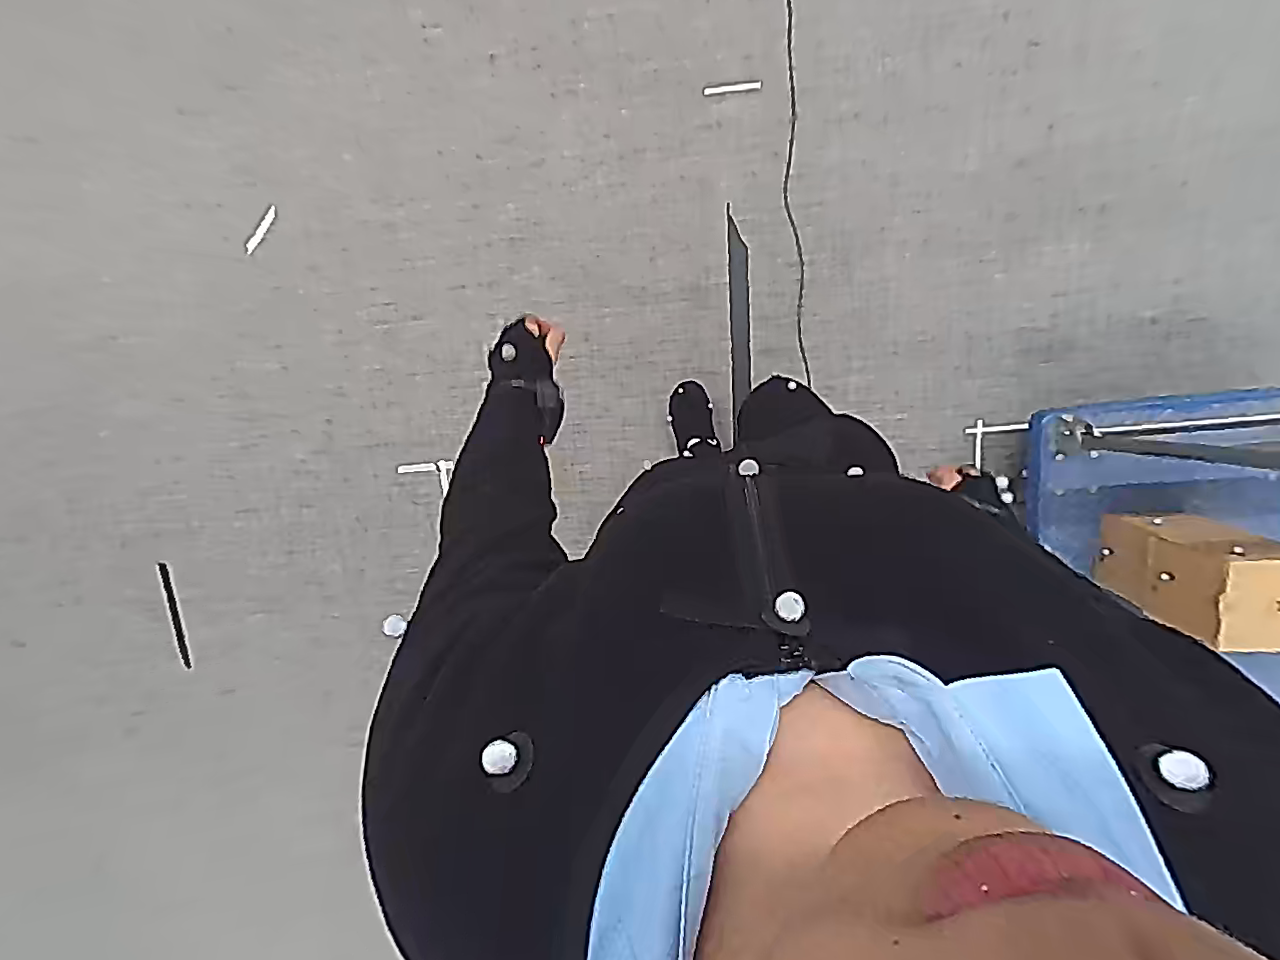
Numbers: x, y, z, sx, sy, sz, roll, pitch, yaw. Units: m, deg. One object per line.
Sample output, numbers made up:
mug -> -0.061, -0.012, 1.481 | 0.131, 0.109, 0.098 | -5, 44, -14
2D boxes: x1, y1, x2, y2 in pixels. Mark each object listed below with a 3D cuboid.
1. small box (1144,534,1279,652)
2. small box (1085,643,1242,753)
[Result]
small box -> 1.088, 0.199, 0.987 | 0.179, 0.176, 0.168 | -2, 100, 8
small box -> 1.143, 0.473, 1.194 | 0.179, 0.176, 0.168 | 0, 99, 6
